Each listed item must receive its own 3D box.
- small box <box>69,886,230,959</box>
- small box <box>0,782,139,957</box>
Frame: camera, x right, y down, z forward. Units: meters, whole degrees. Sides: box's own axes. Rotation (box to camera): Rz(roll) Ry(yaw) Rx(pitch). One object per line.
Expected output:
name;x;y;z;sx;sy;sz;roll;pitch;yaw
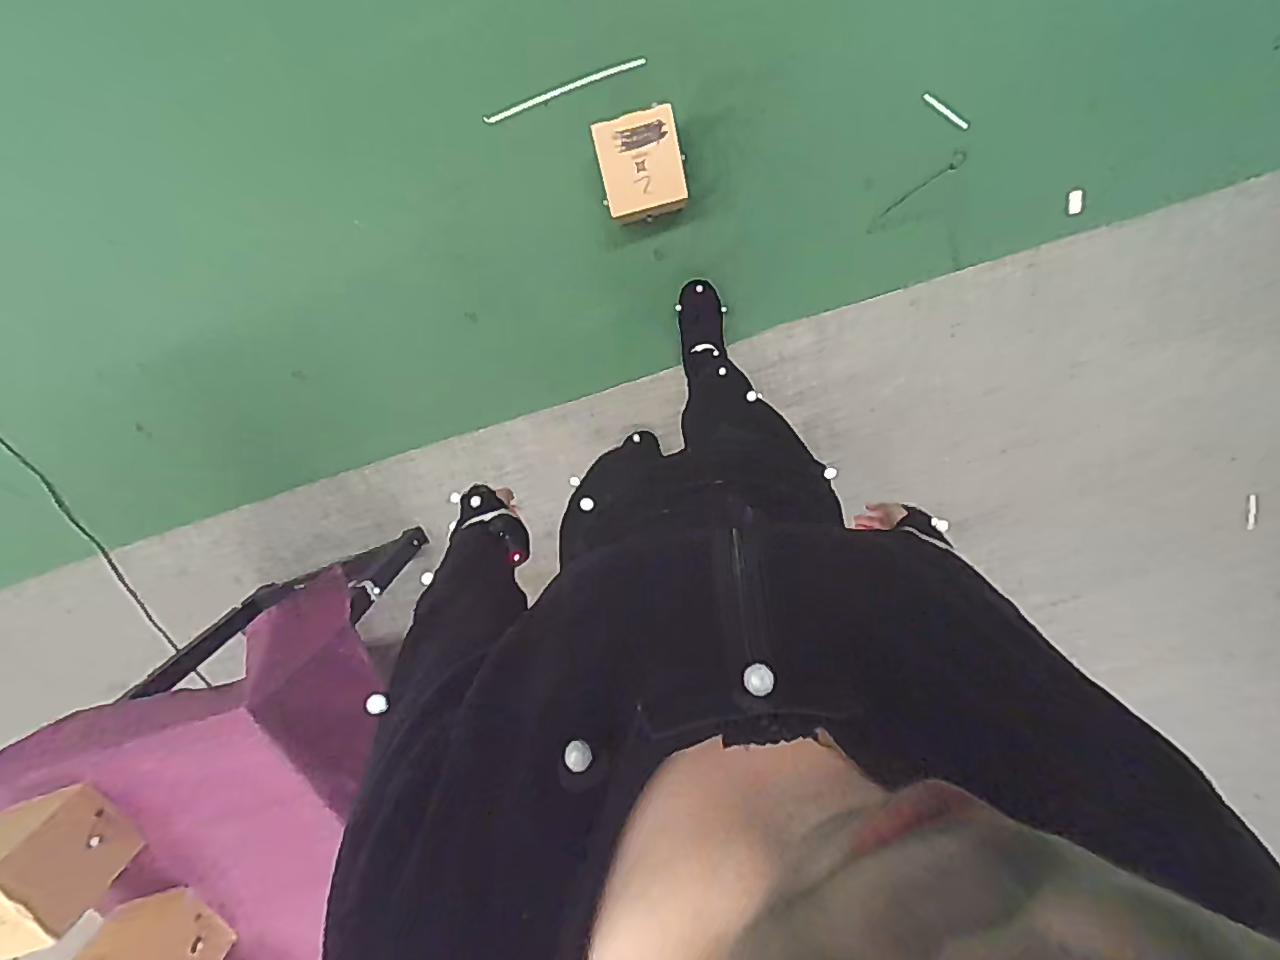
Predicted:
small box;-0.929;0.906;1.004;0.179;0.176;0.168;-20;108;7
small box;-1.023;0.650;0.907;0.179;0.176;0.168;-18;109;5
